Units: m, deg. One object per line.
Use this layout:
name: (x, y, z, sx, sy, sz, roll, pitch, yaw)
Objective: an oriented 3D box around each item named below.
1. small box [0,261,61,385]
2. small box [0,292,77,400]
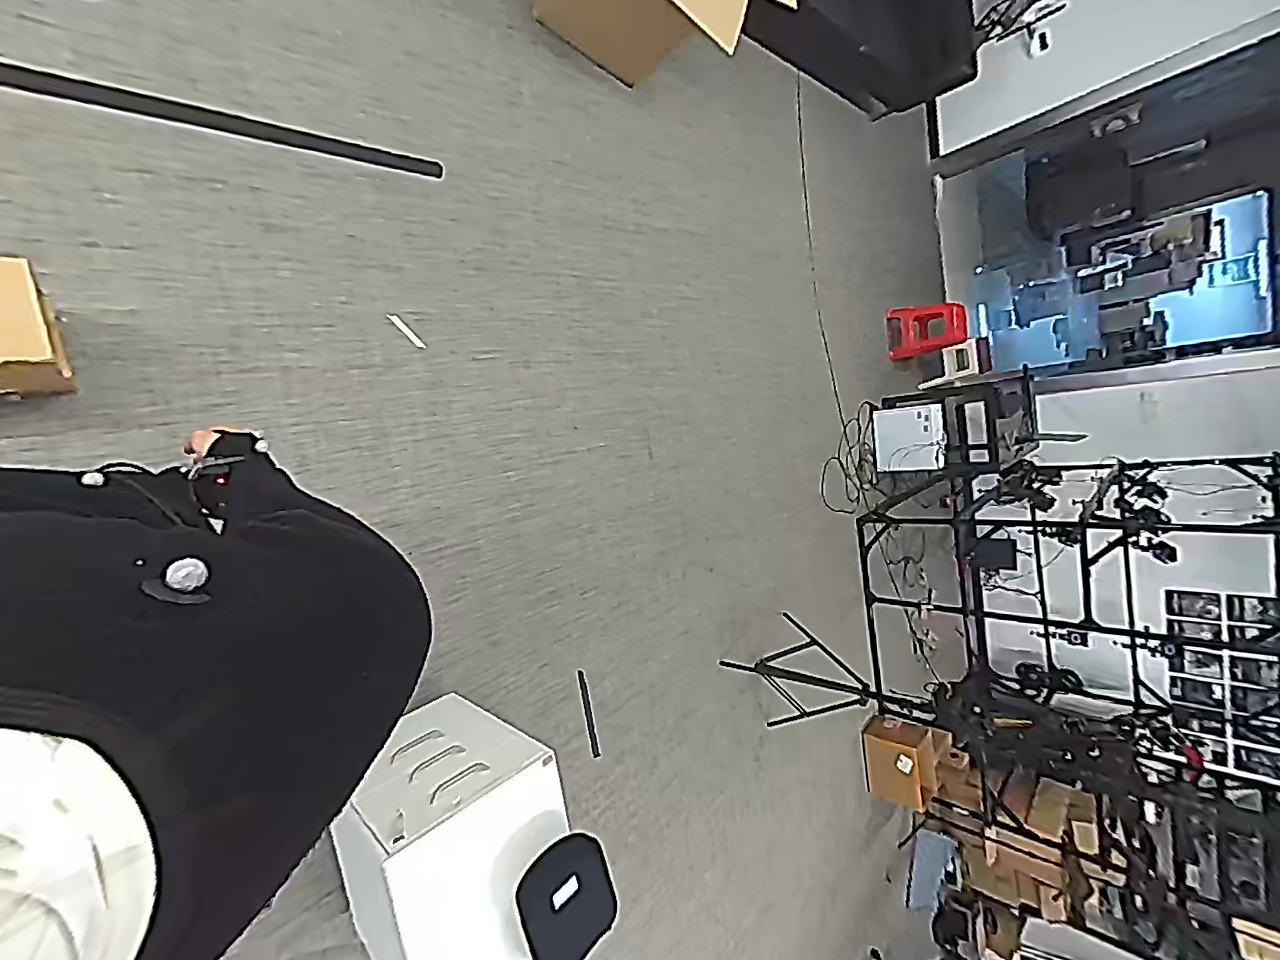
small box: (-1.126, -0.262, 0.918, 0.168, 0.176, 0.179, -15, 98, -42)
small box: (-1.231, -0.256, 1.045, 0.168, 0.176, 0.179, -17, 100, -42)
